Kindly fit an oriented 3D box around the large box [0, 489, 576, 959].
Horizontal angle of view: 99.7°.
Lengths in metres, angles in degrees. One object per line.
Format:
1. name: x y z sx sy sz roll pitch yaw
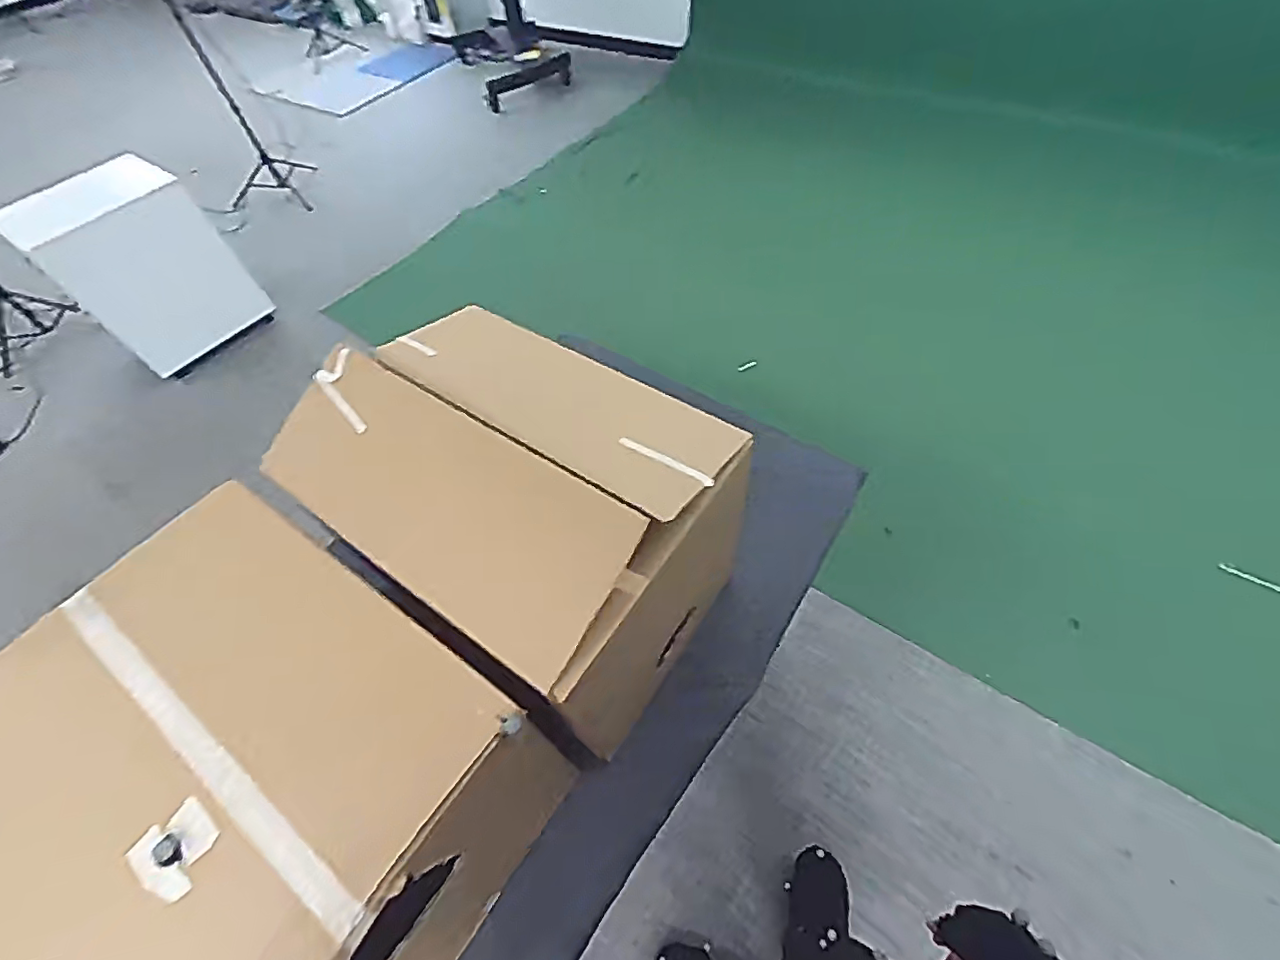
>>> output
1. large box: -0.329 0.280 0.540 0.408 0.320 0.320 28 62 21
